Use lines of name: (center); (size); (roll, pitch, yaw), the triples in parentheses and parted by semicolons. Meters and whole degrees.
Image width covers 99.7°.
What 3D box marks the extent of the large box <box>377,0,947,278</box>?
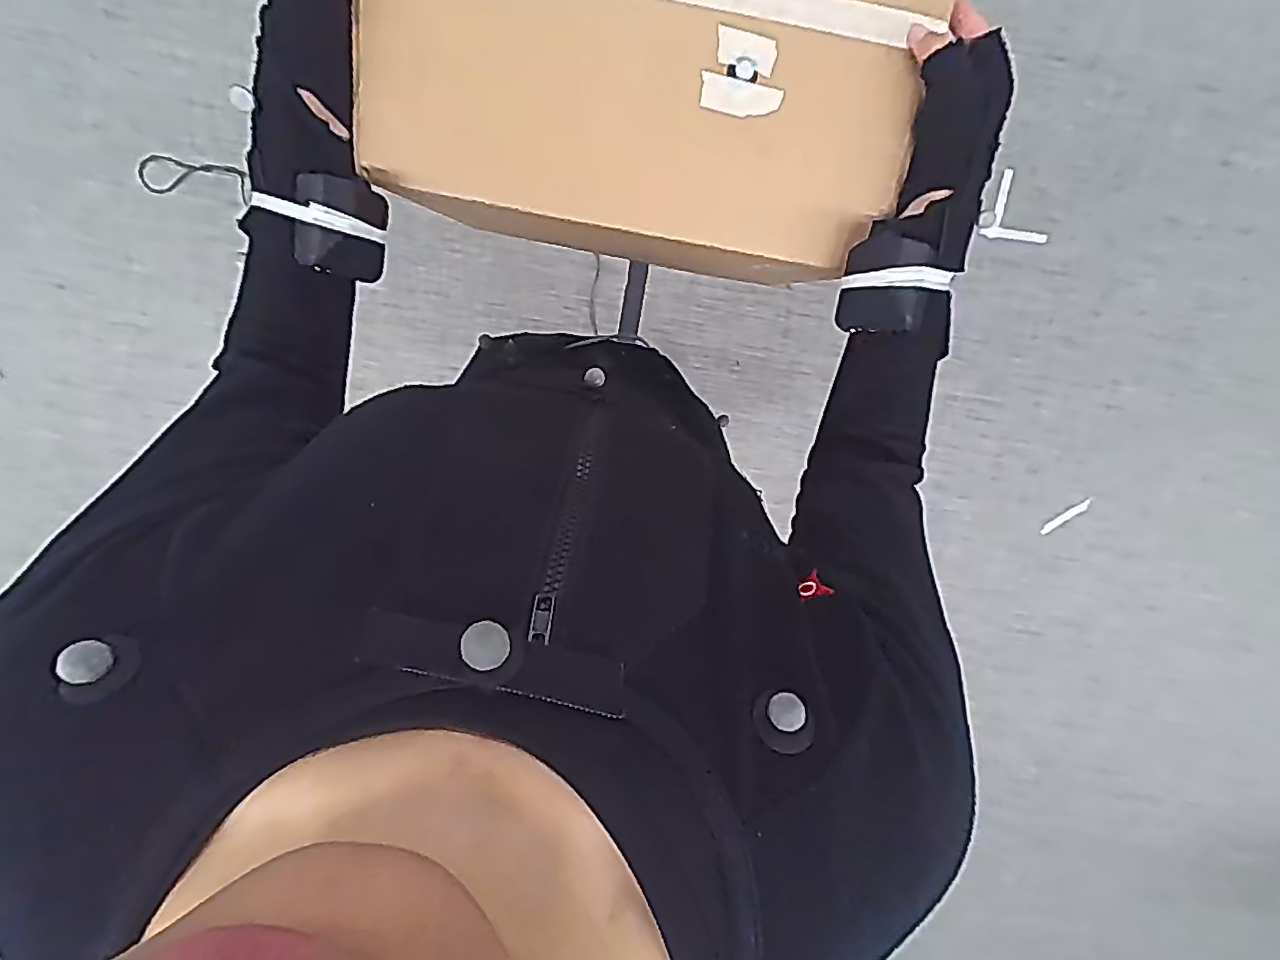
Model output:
large box: (0.012, -0.391, 0.520); (0.408, 0.320, 0.320); (8, 109, -6)
